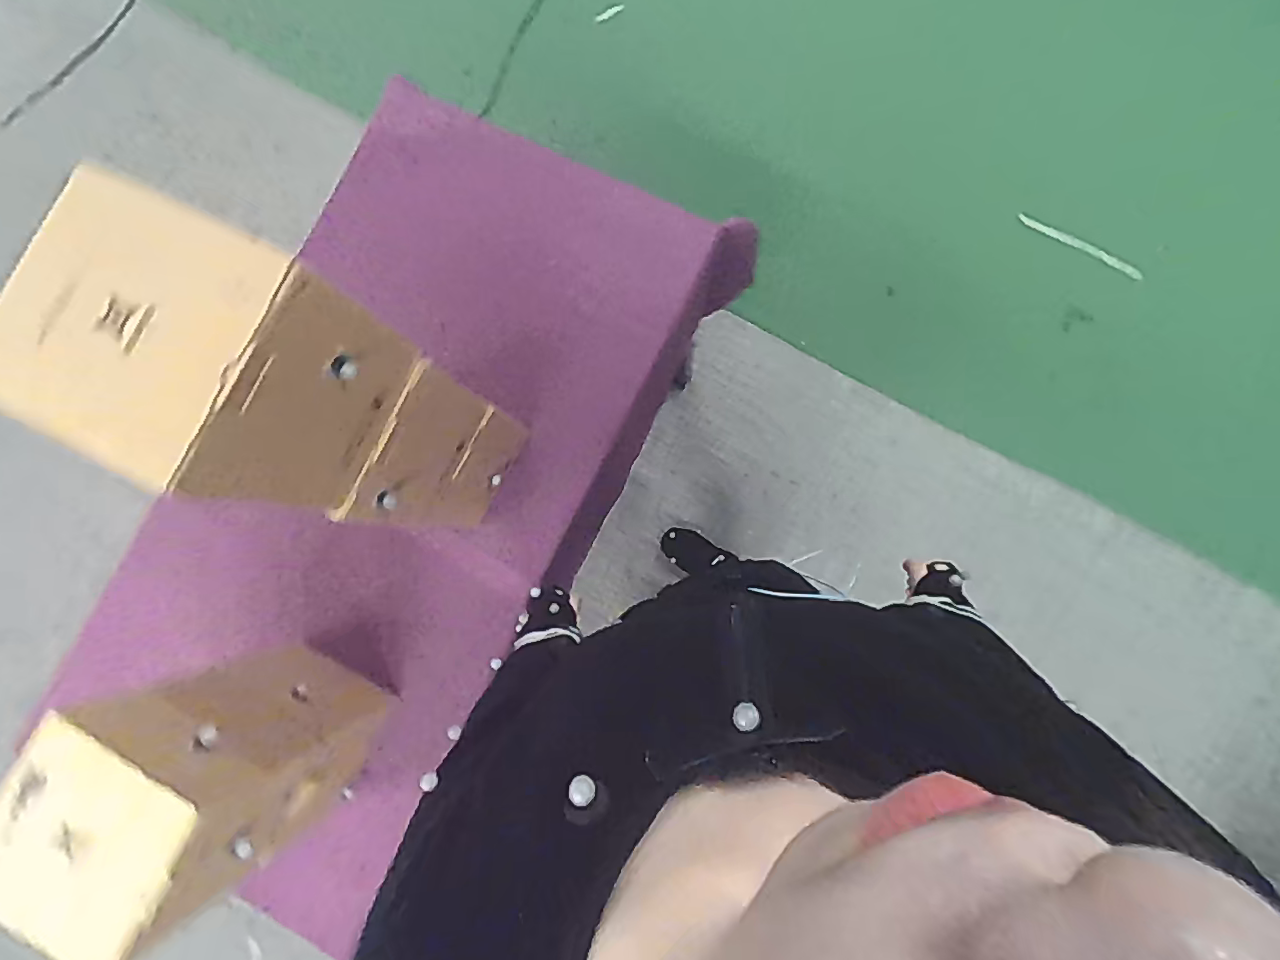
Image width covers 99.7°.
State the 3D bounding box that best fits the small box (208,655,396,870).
[{"bbox_3d":[-0.465,0.352,0.716,0.179,0.176,0.168,25,85,8],"label":"small box"}]

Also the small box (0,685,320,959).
[{"bbox_3d":[-0.479,0.336,0.553,0.179,0.176,0.168,27,85,6],"label":"small box"}]

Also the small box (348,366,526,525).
[{"bbox_3d":[-0.287,-0.043,0.748,0.179,0.176,0.168,28,87,6],"label":"small box"}]

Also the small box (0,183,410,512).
[{"bbox_3d":[-0.320,-0.082,0.425,0.179,0.176,0.168,25,85,7],"label":"small box"}]
